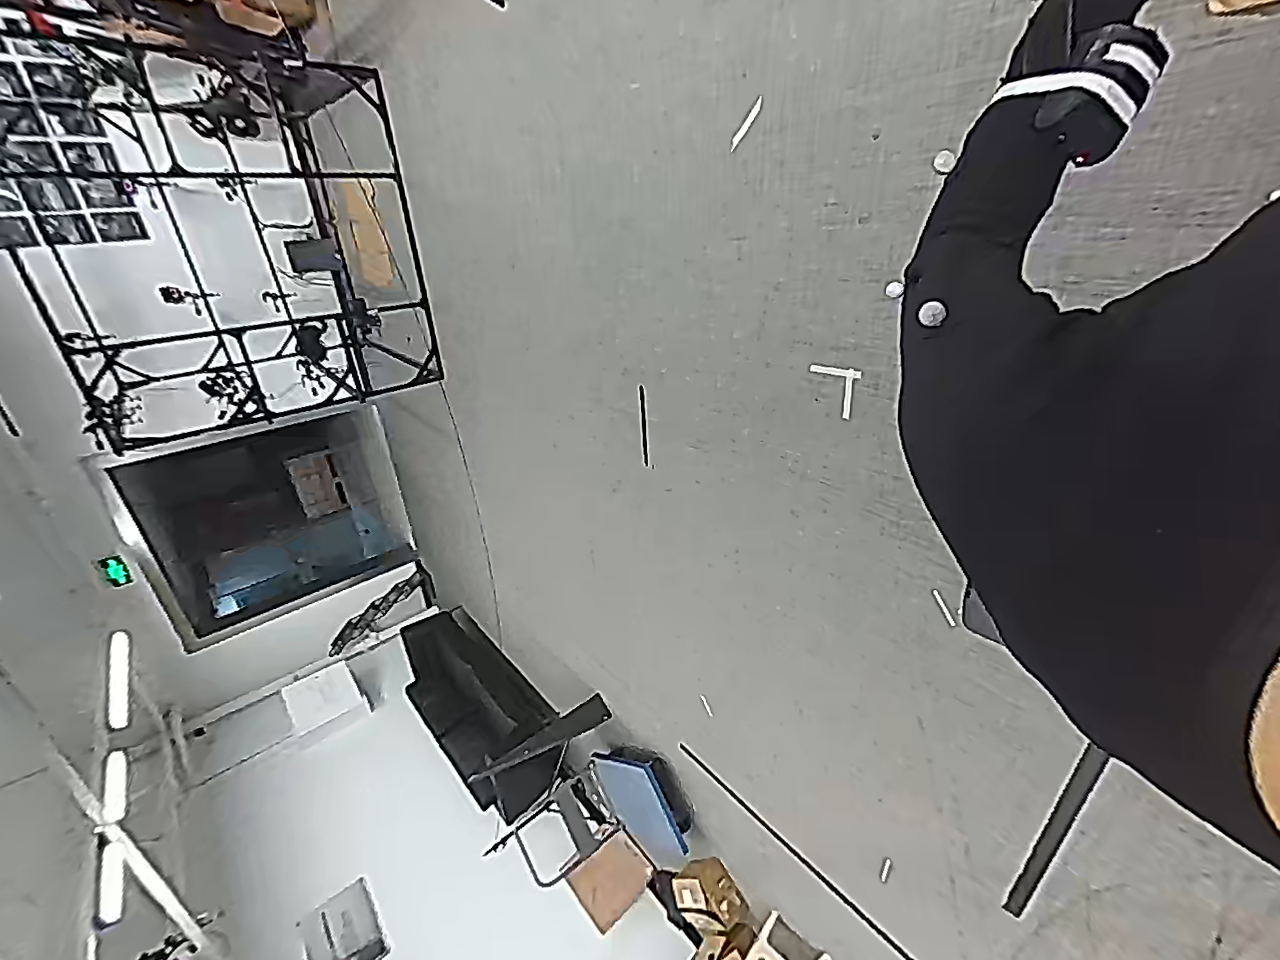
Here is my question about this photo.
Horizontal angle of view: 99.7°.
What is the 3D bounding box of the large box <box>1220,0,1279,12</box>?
[{"bbox_3d":[0.584,-0.463,0.226,0.408,0.320,0.320,19,132,44],"label":"large box"}]
